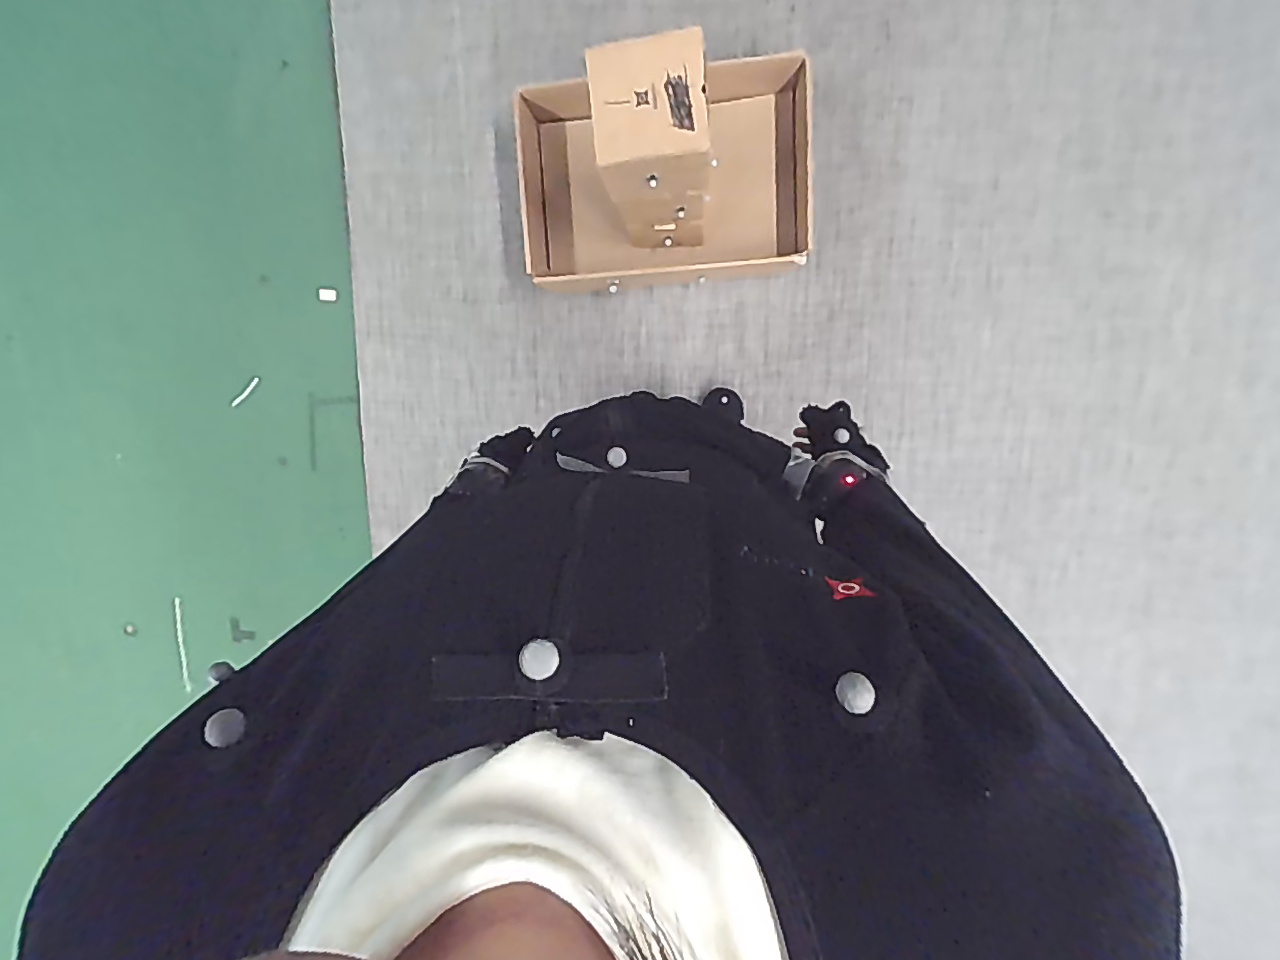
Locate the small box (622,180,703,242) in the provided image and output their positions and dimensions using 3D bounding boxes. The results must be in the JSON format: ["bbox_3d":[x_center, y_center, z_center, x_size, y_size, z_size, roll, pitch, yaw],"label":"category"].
[{"bbox_3d":[0.055,-0.637,1.201,0.168,0.176,0.179,1,100,7],"label":"small box"}]

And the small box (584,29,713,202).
[{"bbox_3d":[0.019,-0.578,0.882,0.179,0.176,0.168,-7,99,7],"label":"small box"}]

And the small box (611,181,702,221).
[{"bbox_3d":[0.036,-0.613,1.041,0.168,0.176,0.179,0,98,6],"label":"small box"}]
